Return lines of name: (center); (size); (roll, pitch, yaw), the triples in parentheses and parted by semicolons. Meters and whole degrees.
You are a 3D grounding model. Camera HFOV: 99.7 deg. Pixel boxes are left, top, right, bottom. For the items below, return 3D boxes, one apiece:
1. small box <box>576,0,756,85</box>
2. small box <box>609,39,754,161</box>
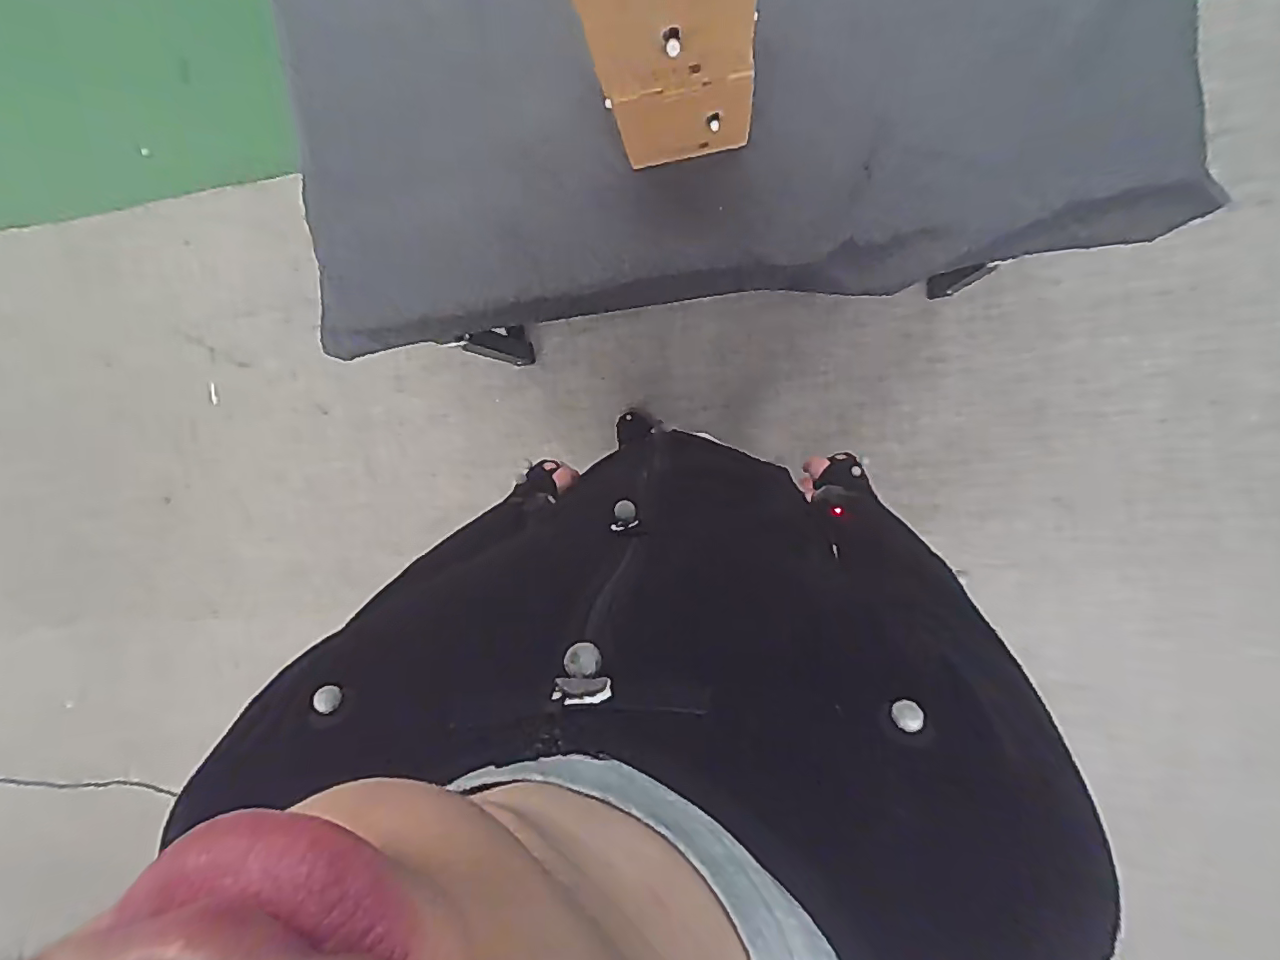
small box: (0.024, -0.520, 0.521); (0.168, 0.176, 0.179); (-6, 96, 7)
small box: (0.048, -0.533, 0.683); (0.168, 0.176, 0.179); (-8, 94, 8)
